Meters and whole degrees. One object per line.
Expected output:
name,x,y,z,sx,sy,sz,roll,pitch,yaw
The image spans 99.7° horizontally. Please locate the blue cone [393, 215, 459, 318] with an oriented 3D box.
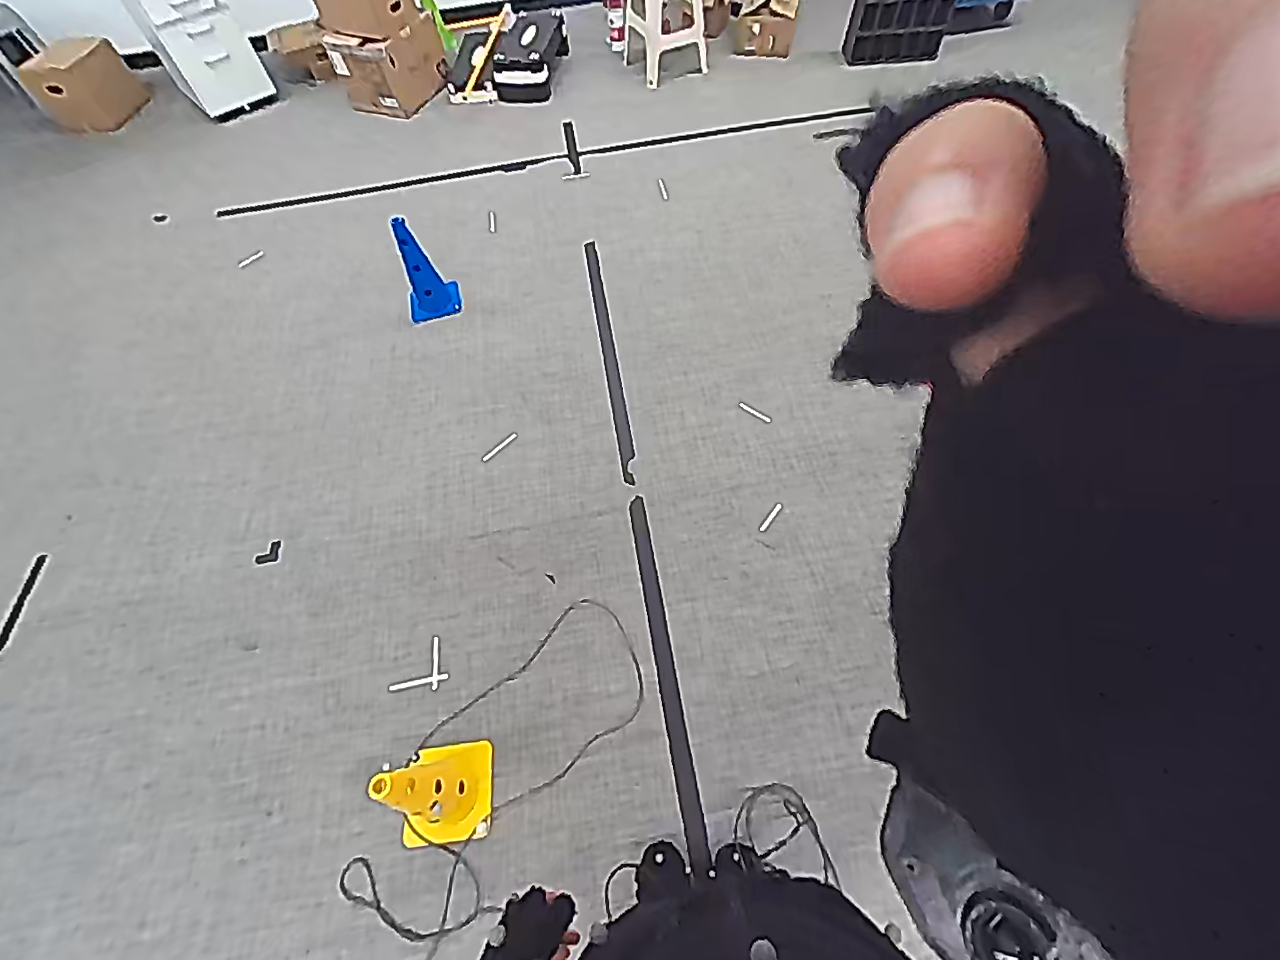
blue cone,-0.842,-0.815,2.042,0.192,0.380,0.193,-15,59,-5
